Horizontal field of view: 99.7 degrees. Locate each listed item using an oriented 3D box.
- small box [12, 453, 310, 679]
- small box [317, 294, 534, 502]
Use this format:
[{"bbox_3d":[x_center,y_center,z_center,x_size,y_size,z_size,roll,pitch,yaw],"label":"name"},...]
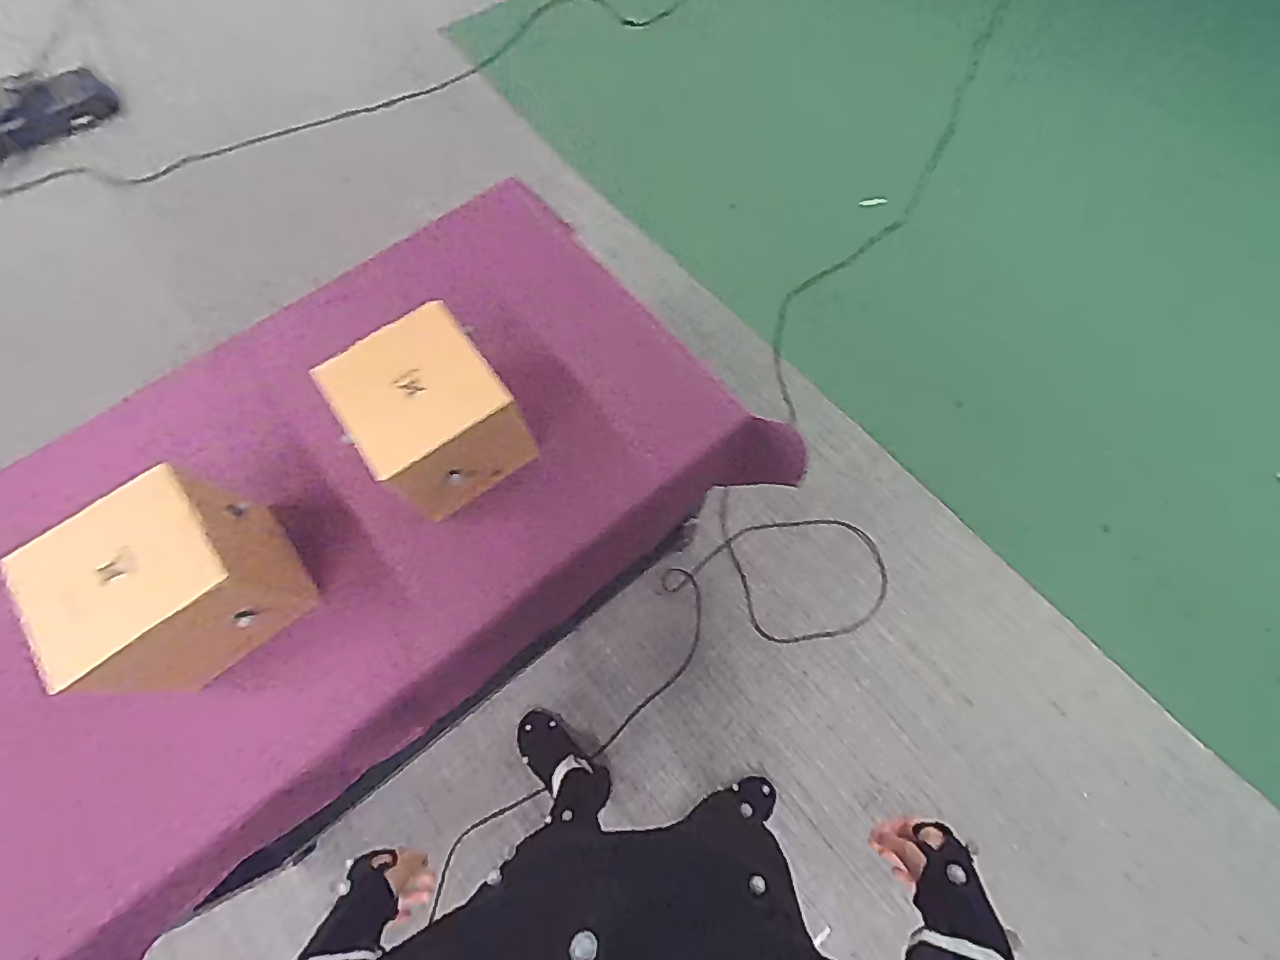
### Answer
[{"bbox_3d":[-0.520,0.105,0.619,0.179,0.176,0.168,-37,73,-12],"label":"small box"},{"bbox_3d":[-0.257,-0.090,0.690,0.168,0.176,0.179,-36,73,-12],"label":"small box"}]
